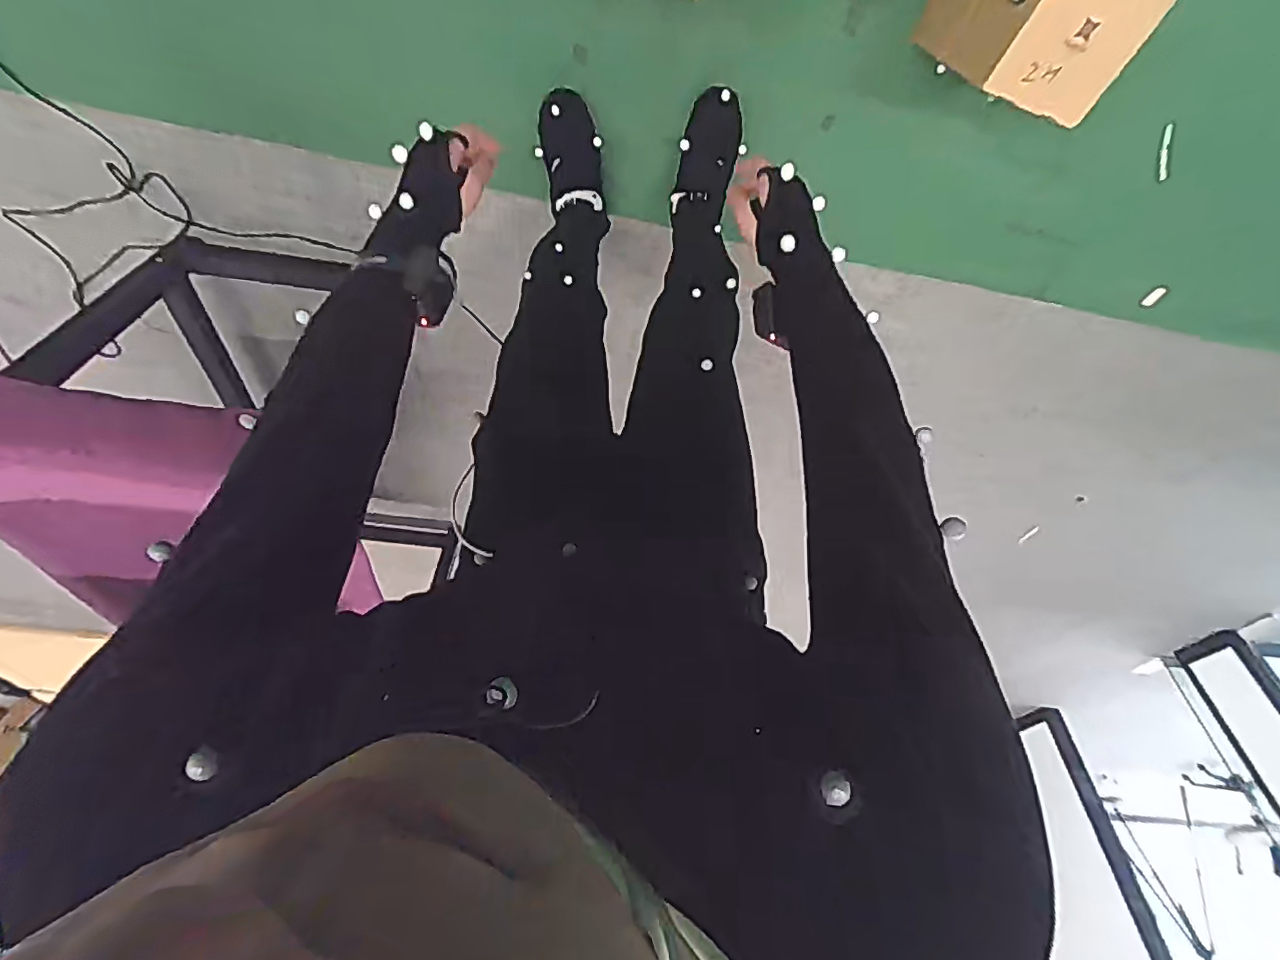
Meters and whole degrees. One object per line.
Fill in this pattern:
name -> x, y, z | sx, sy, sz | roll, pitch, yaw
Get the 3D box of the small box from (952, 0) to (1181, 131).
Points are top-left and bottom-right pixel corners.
small box -> 0.584, -0.640, 0.761 | 0.168, 0.176, 0.179 | 13, 138, -12
